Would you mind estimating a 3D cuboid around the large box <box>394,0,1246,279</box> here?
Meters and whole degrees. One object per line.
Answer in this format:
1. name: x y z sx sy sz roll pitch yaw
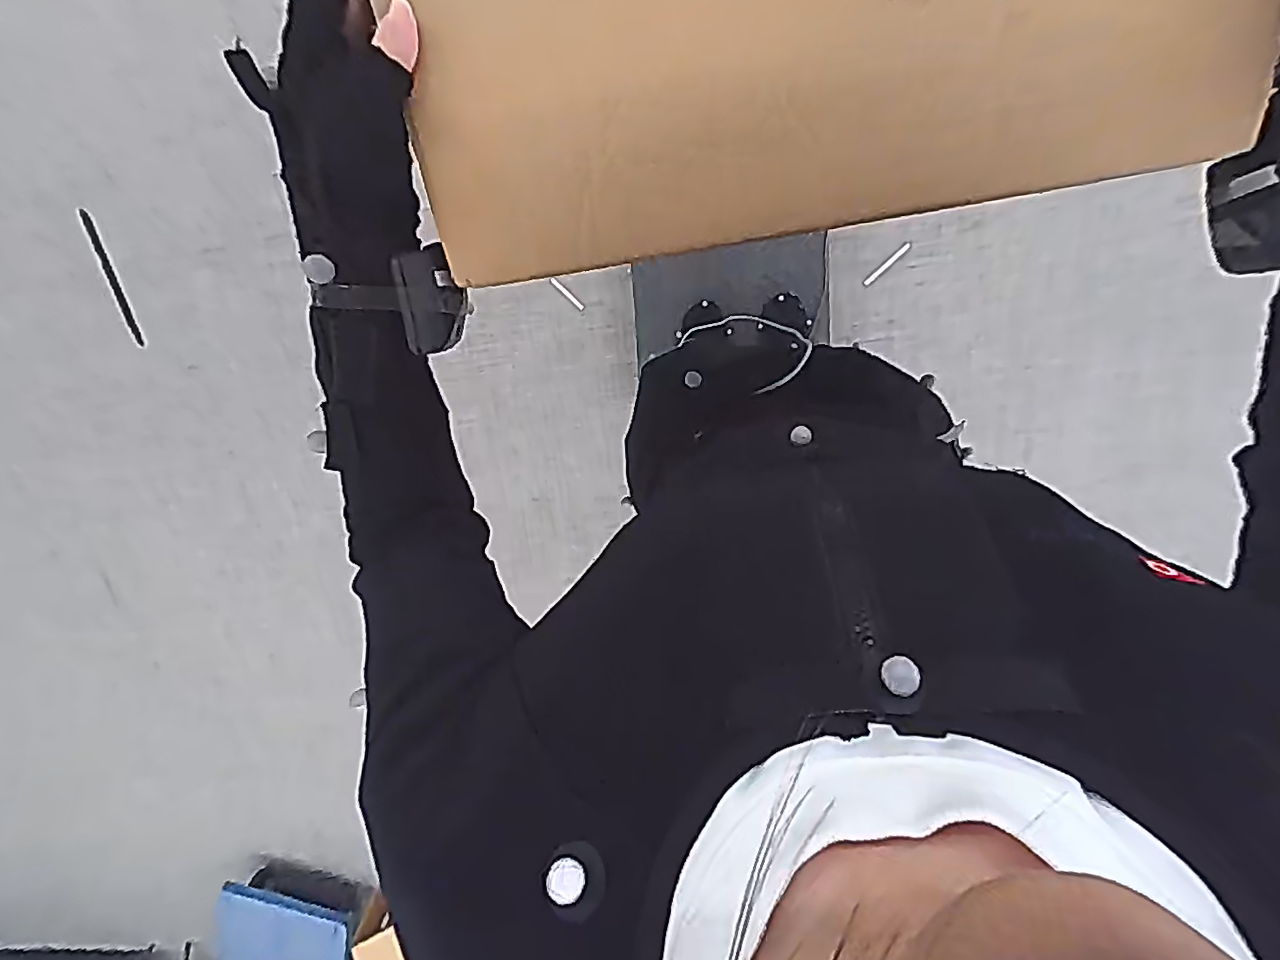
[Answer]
1. large box: 0.078 -0.345 0.375 0.408 0.320 0.320 -7 114 9
